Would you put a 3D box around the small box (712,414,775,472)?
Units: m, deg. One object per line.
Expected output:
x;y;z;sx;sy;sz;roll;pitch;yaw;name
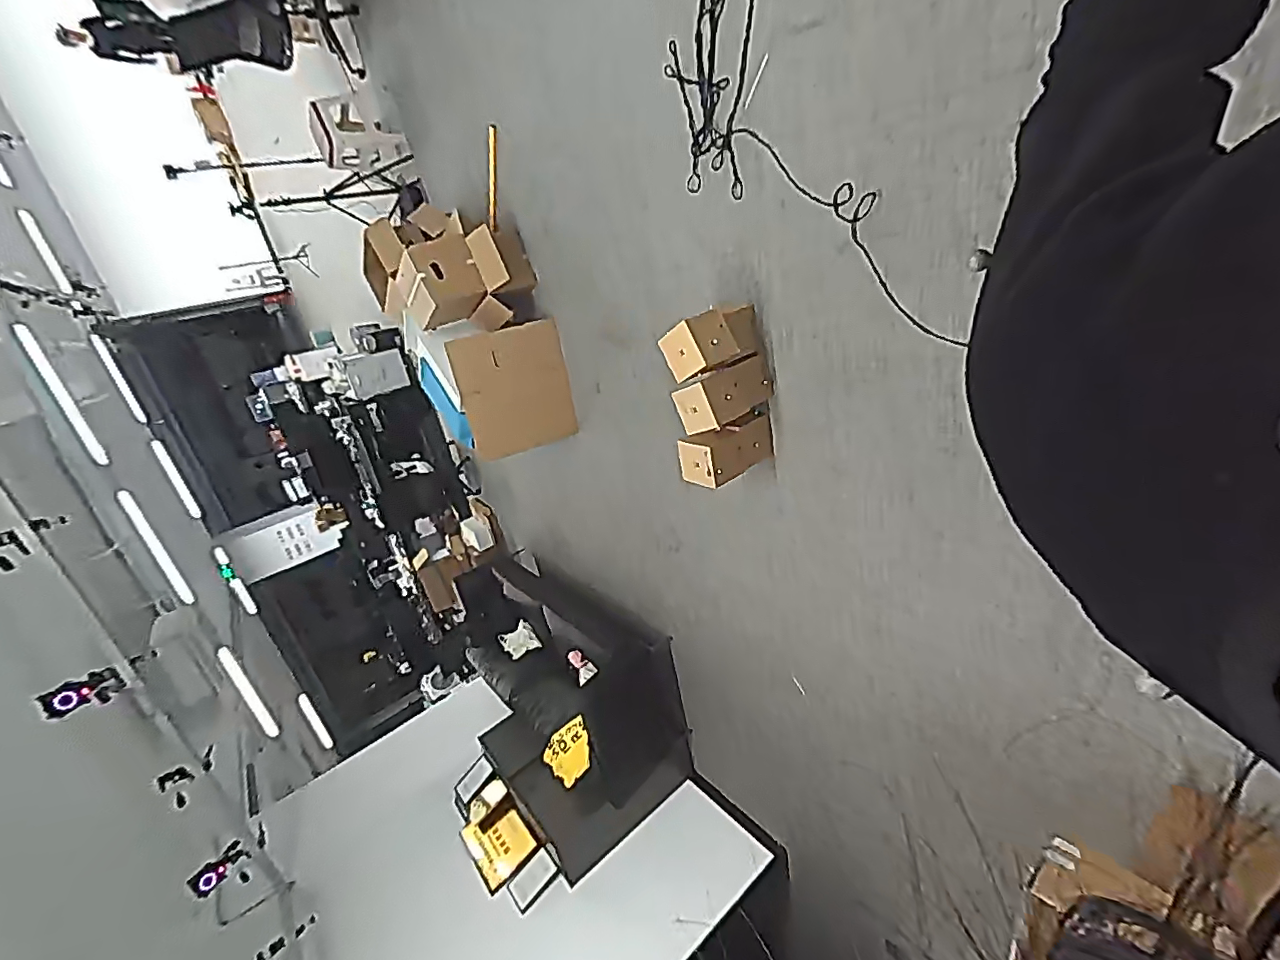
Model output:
0.402;-0.152;2.098;0.168;0.176;0.179;17;127;51;small box

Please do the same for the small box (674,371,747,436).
0.257;-0.270;1.910;0.179;0.176;0.168;-9;105;59;small box

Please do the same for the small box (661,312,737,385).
0.207;-0.449;1.843;0.179;0.176;0.168;-24;92;60;small box
